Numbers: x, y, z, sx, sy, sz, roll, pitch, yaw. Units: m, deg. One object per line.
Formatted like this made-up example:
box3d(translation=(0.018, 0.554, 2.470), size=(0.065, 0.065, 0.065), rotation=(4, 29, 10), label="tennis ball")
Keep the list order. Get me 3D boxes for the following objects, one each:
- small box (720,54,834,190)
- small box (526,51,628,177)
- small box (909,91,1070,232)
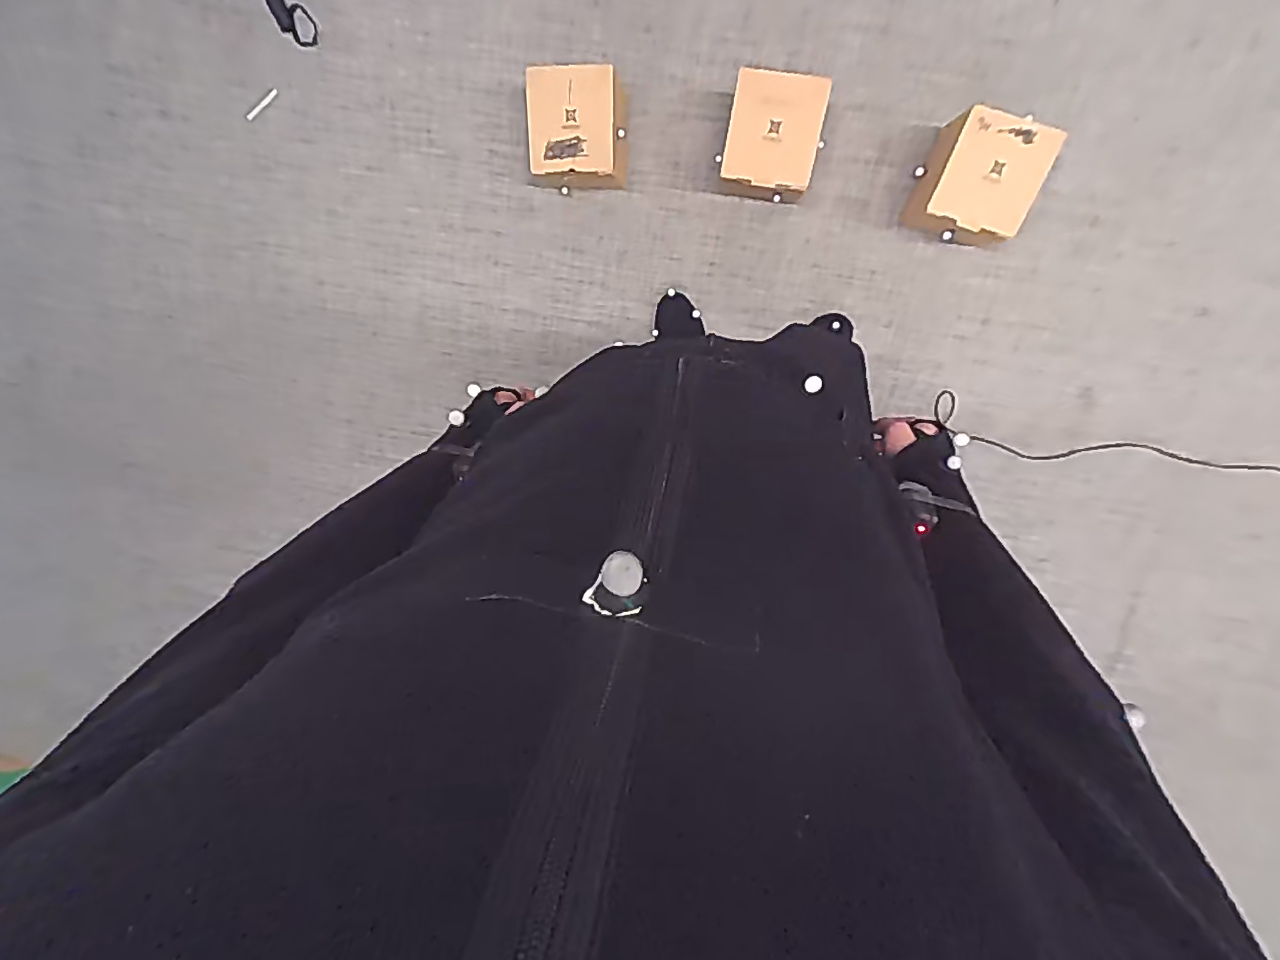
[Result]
box3d(translation=(0.251, -0.669, 1.032), size=(0.168, 0.176, 0.179), rotation=(10, 110, 4), label="small box")
box3d(translation=(-0.116, -0.710, 1.069), size=(0.168, 0.176, 0.179), rotation=(3, 110, 7), label="small box")
box3d(translation=(0.629, -0.577, 1.007), size=(0.168, 0.176, 0.179), rotation=(20, 113, 2), label="small box")
